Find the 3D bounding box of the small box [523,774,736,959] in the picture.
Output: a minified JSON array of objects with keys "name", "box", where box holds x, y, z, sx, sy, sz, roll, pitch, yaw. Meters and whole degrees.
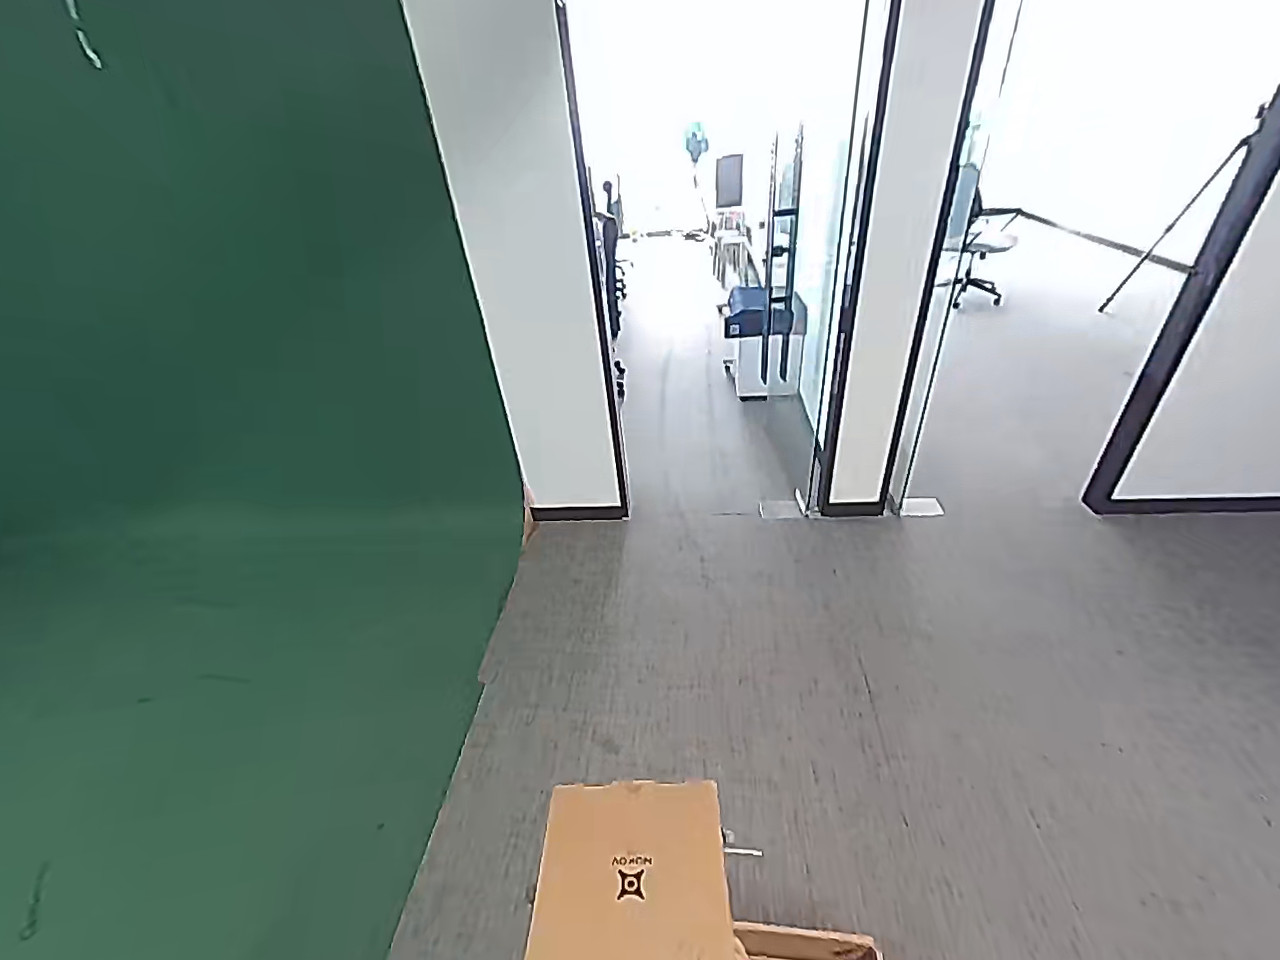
[{"name":"small box","box":[-0.001,0.405,0.497,0.168,0.176,0.179,-3,27,2]}]
